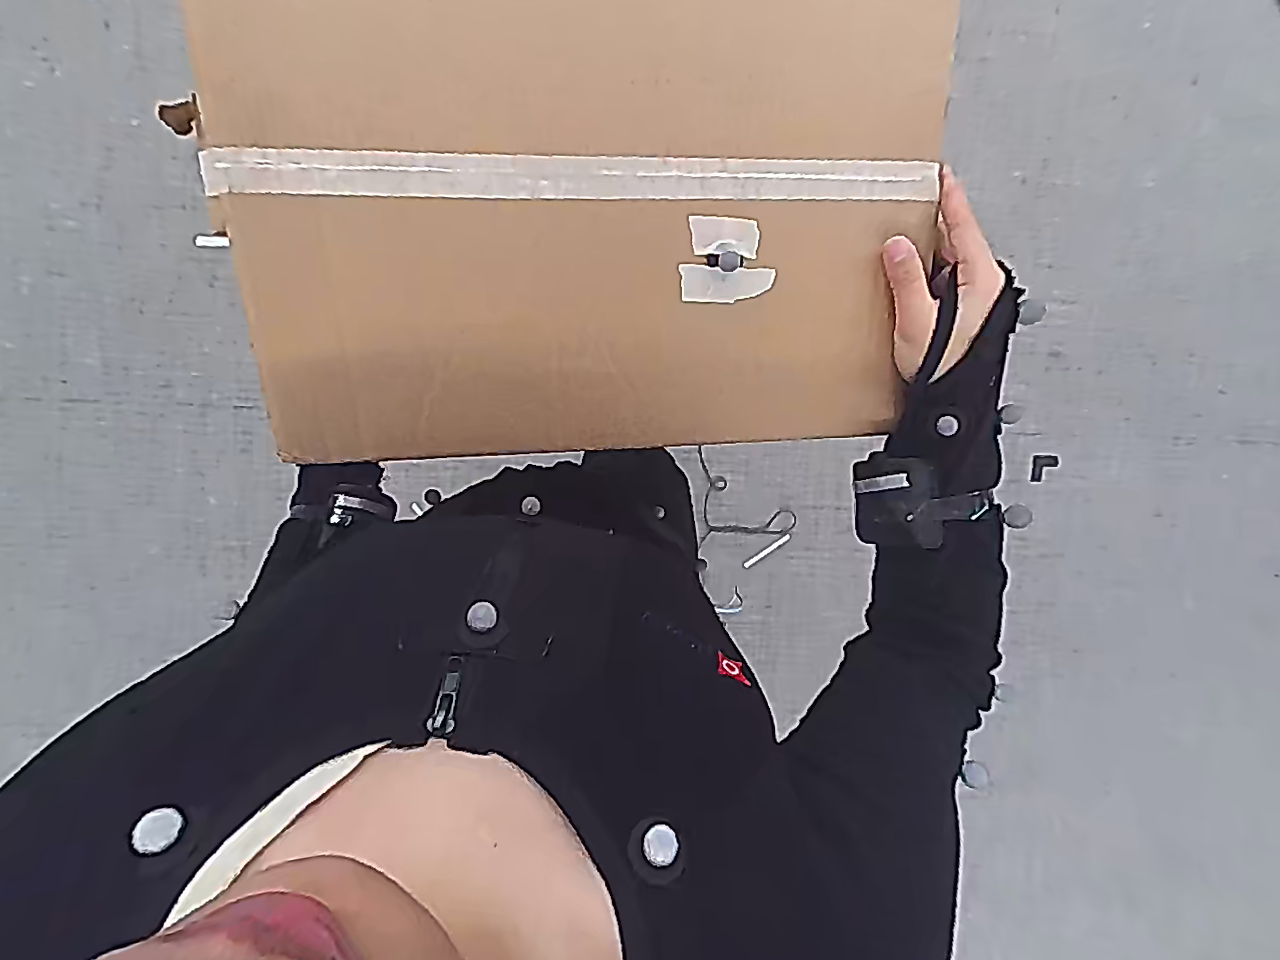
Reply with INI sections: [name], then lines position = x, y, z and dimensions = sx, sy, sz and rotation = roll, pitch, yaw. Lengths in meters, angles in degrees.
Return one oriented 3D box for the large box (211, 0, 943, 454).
[large box]
position = -0.040, -0.218, 0.458
dimensions = 0.408, 0.320, 0.320
rotation = -4, 107, -9
